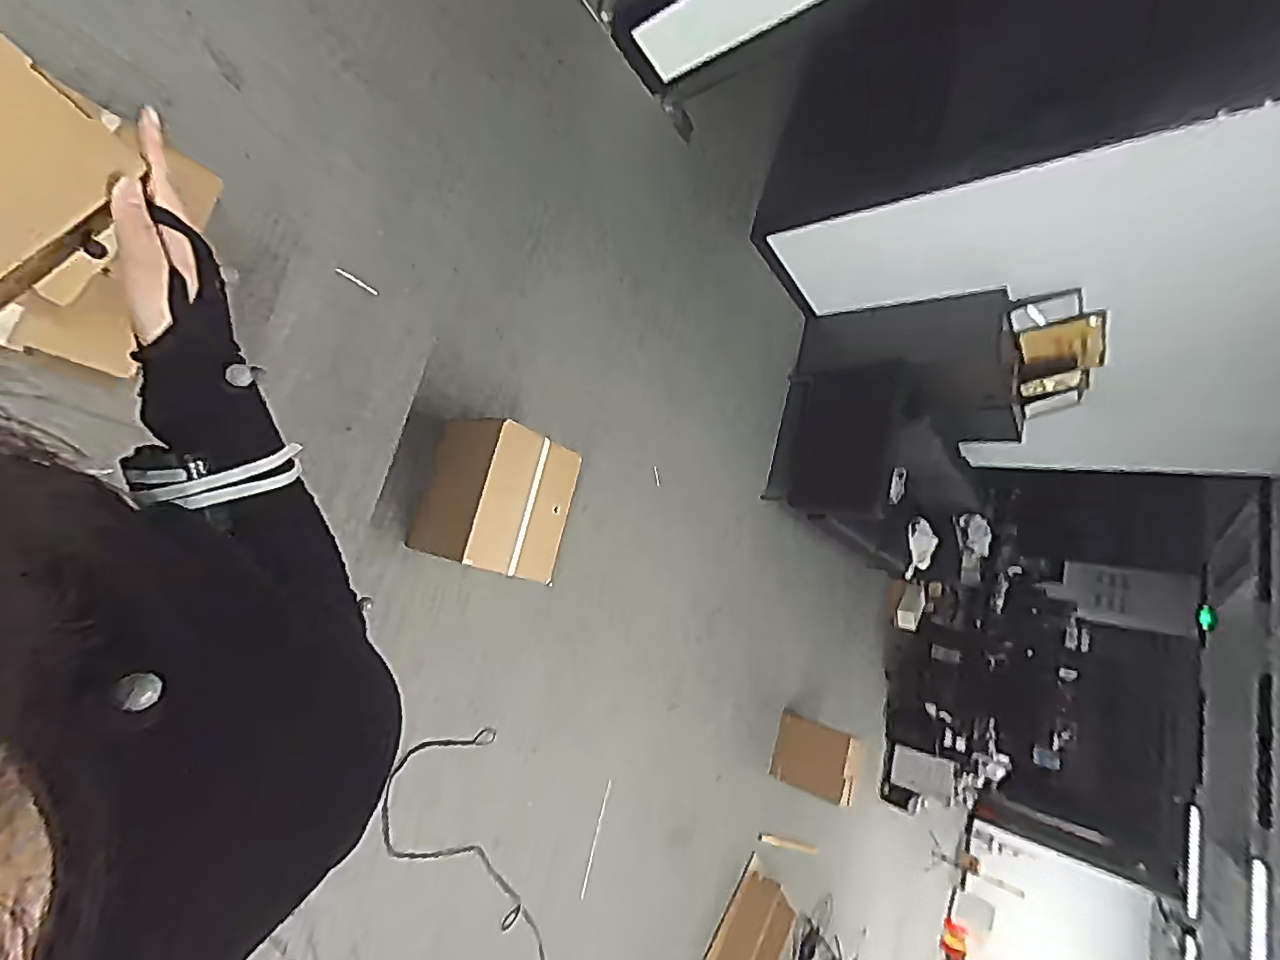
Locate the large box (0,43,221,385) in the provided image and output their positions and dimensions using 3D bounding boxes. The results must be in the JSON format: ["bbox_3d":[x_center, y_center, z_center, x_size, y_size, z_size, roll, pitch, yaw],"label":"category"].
[{"bbox_3d":[-1.010,-0.416,0.934,0.320,0.320,0.408,27,73,-47],"label":"large box"}]

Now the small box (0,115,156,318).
[{"bbox_3d":[-0.842,-0.355,0.760,0.168,0.176,0.179,40,64,-42],"label":"small box"}]
